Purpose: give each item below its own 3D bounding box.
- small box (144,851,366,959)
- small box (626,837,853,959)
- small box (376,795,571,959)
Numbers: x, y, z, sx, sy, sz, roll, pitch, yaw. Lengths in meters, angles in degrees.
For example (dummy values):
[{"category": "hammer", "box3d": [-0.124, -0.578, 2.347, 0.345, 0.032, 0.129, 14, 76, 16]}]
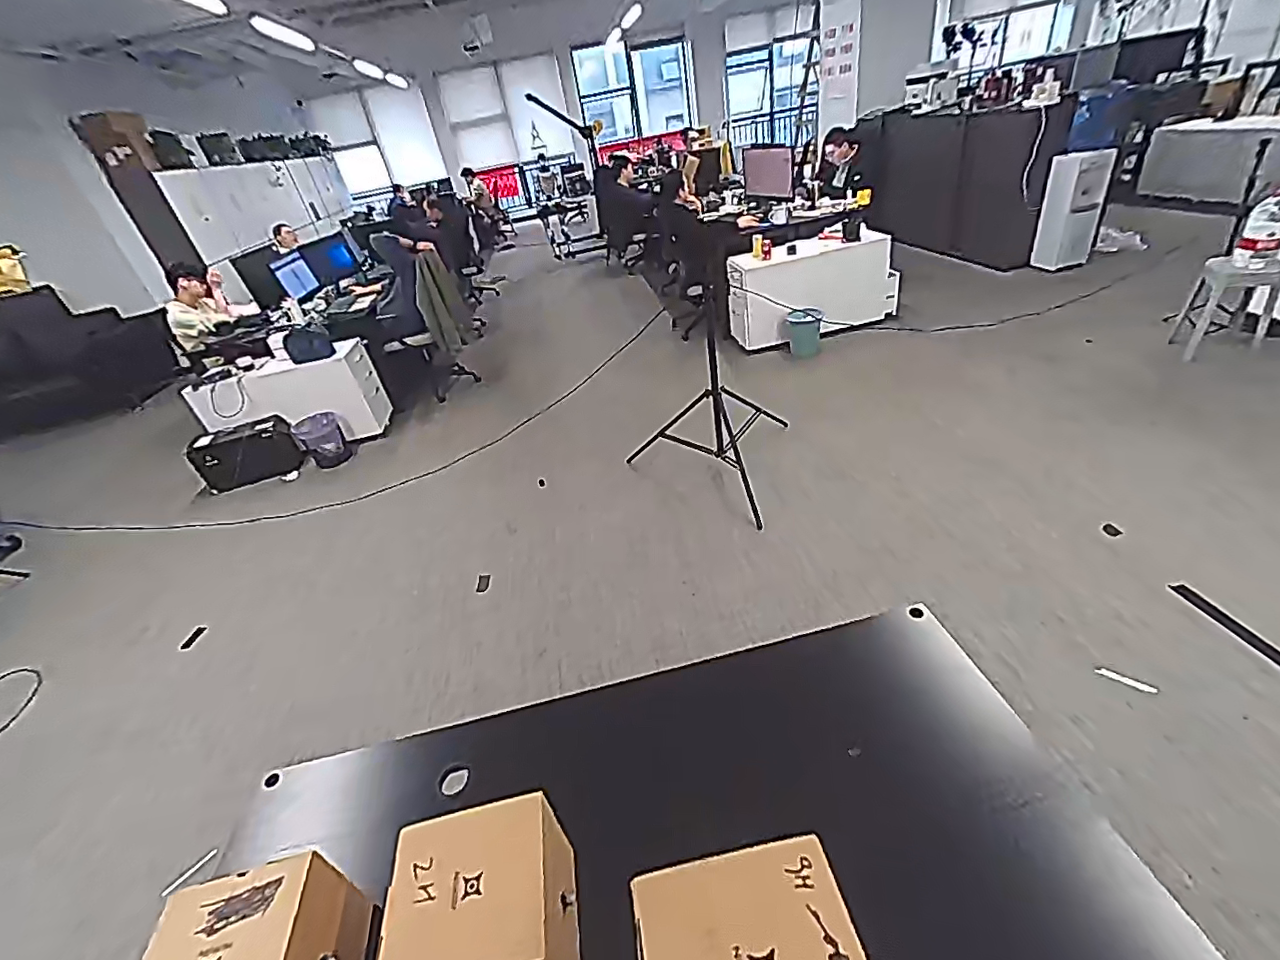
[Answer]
[{"category": "small box", "box3d": [-0.440, 0.575, 0.618, 0.168, 0.176, 0.179, -14, 35, -5]}, {"category": "small box", "box3d": [0.094, 0.455, 0.472, 0.179, 0.176, 0.168, -11, 33, -3]}, {"category": "small box", "box3d": [-0.181, 0.512, 0.635, 0.179, 0.176, 0.168, -13, 33, -3]}]
